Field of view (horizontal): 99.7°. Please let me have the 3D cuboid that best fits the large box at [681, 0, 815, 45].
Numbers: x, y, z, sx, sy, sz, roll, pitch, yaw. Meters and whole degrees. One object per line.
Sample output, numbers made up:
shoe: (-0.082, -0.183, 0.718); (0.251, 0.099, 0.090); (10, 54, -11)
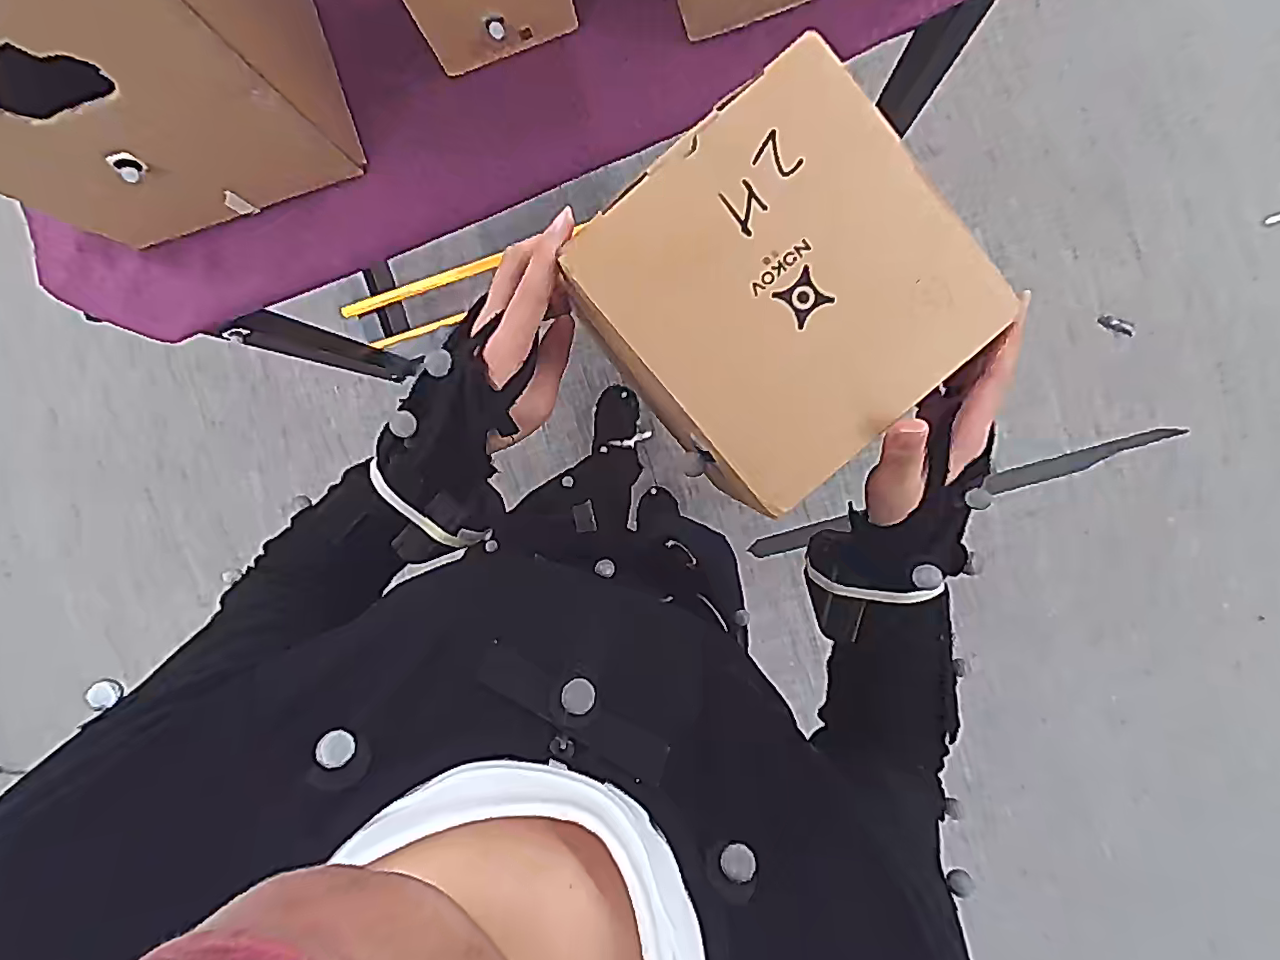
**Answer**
large box: (0.131, -0.720, 0.457); (0.320, 0.320, 0.408); (-18, 89, 5)
